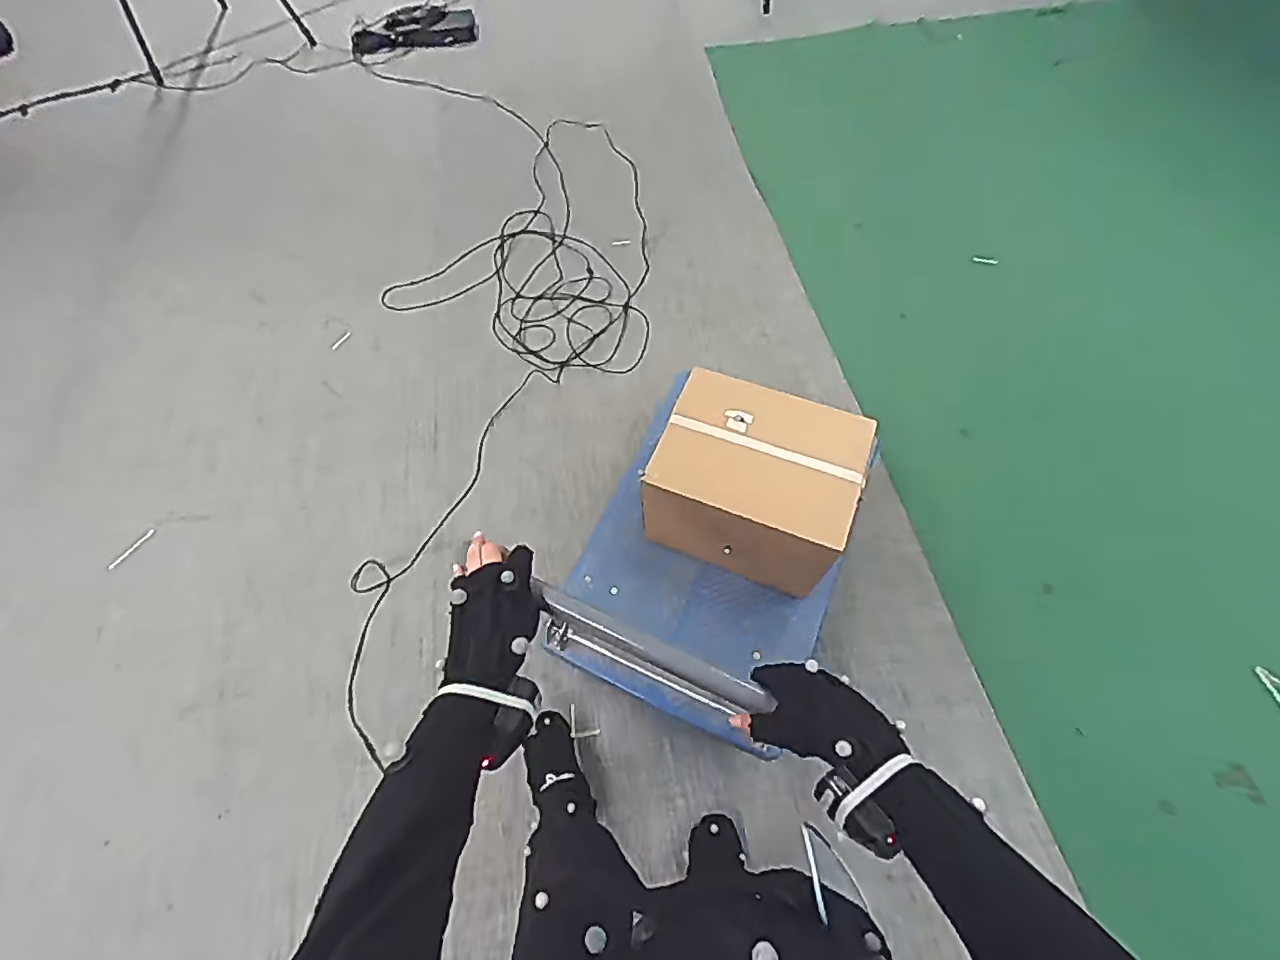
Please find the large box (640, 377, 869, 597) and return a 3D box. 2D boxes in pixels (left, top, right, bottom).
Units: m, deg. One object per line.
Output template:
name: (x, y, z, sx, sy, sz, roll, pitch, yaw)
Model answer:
large box: (0.247, 0.024, 1.231, 0.408, 0.320, 0.320, 19, 63, 13)
